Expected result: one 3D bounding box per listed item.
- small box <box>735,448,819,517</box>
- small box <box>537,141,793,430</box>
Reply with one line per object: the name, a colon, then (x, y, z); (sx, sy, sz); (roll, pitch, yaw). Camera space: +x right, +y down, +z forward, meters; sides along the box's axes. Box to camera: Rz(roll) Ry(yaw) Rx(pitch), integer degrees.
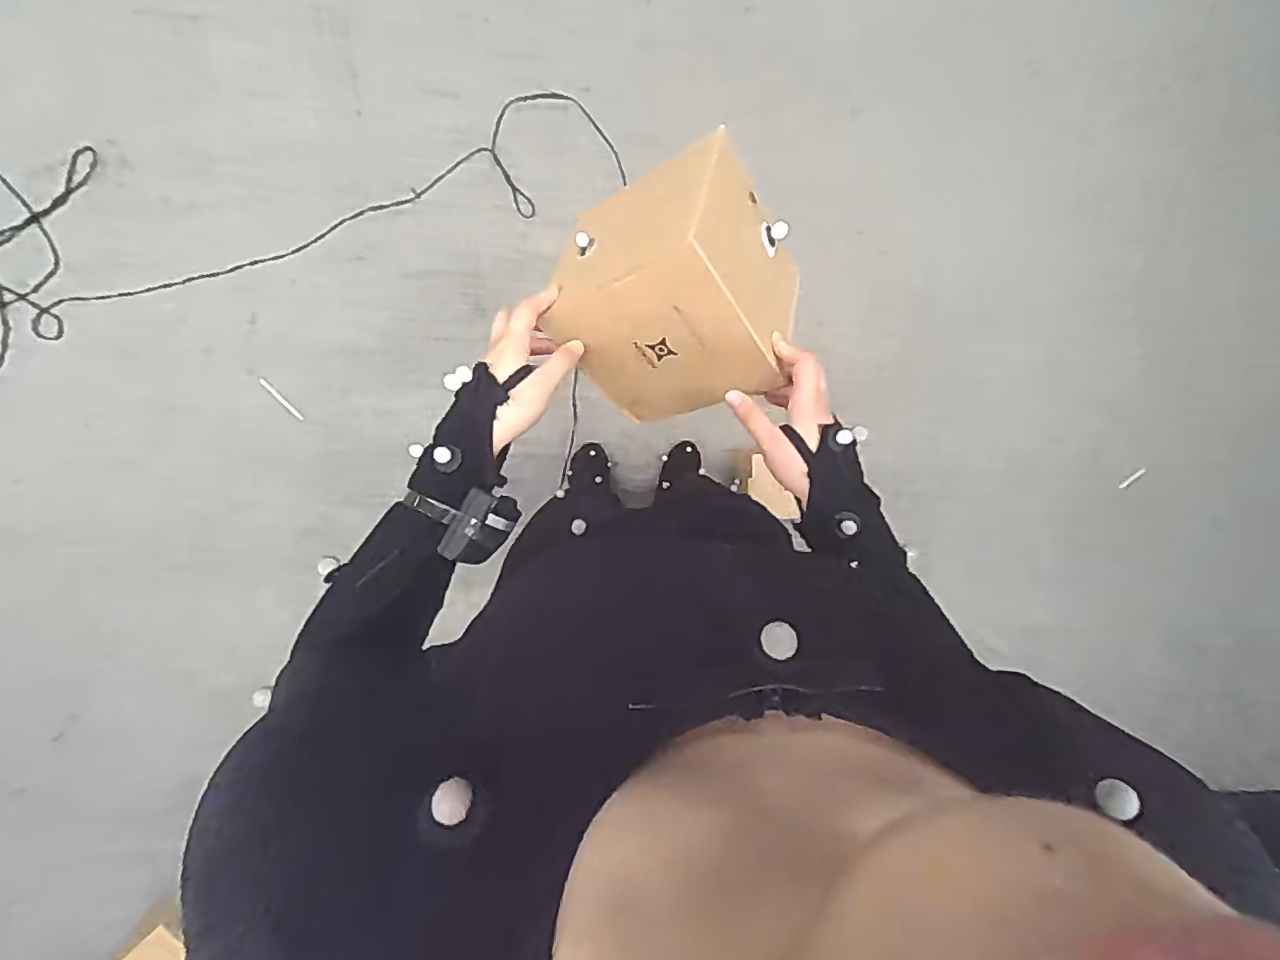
small box: (0.358, 0.003, 1.441); (0.179, 0.176, 0.168); (1, 97, -5)
small box: (0.034, -0.179, 0.532); (0.168, 0.179, 0.176); (40, 51, -37)
